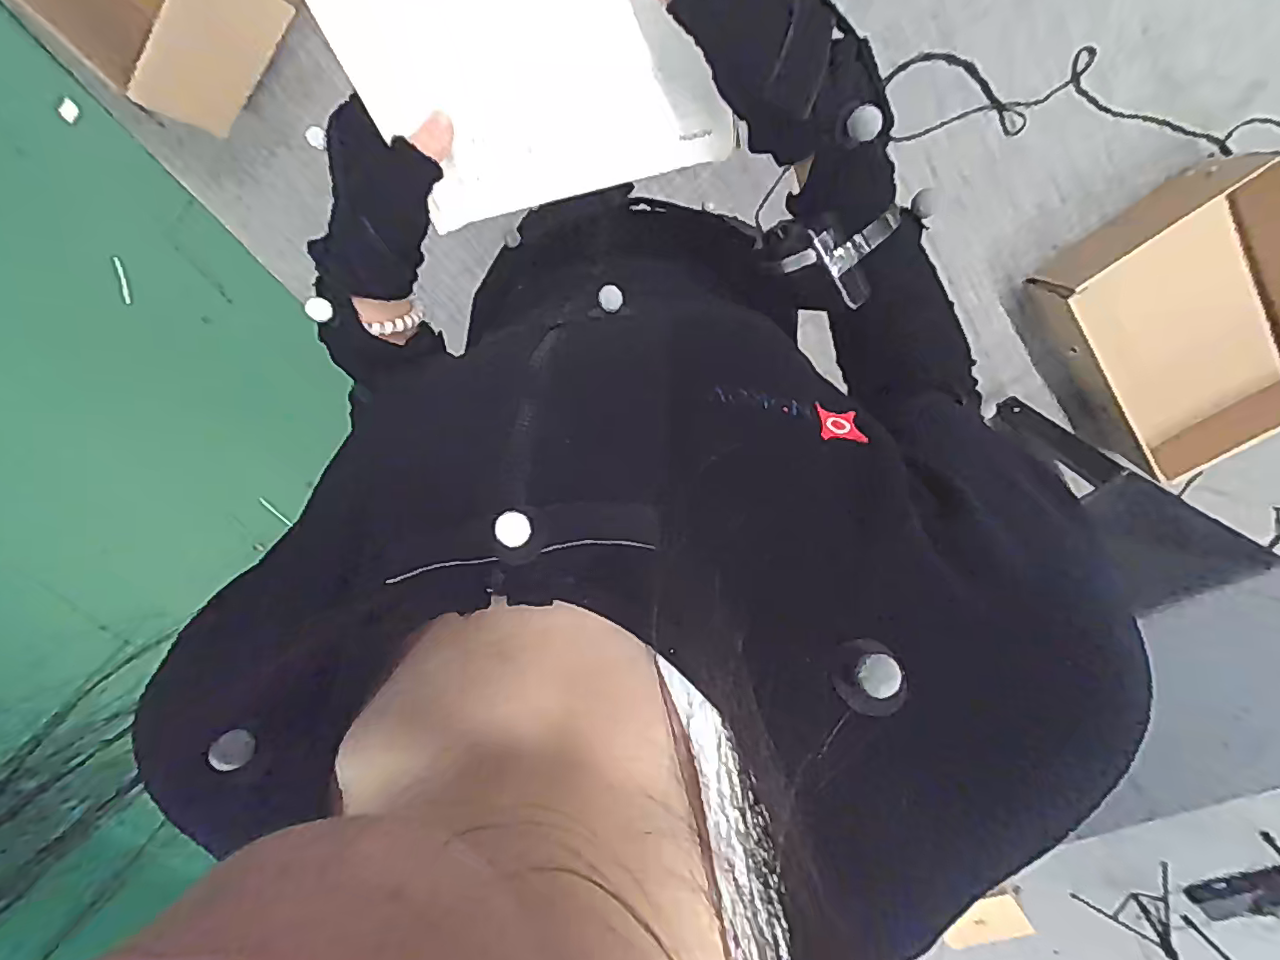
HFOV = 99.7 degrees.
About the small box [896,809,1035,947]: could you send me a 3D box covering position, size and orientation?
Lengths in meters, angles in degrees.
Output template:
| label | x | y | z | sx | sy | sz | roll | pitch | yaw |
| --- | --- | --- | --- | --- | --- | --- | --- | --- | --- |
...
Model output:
| label | x | y | z | sx | sy | sz | roll | pitch | yaw |
| --- | --- | --- | --- | --- | --- | --- | --- | --- | --- |
| small box | 0.660 | 0.812 | 1.116 | 0.168 | 0.176 | 0.179 | -30 | 114 | 19 |
